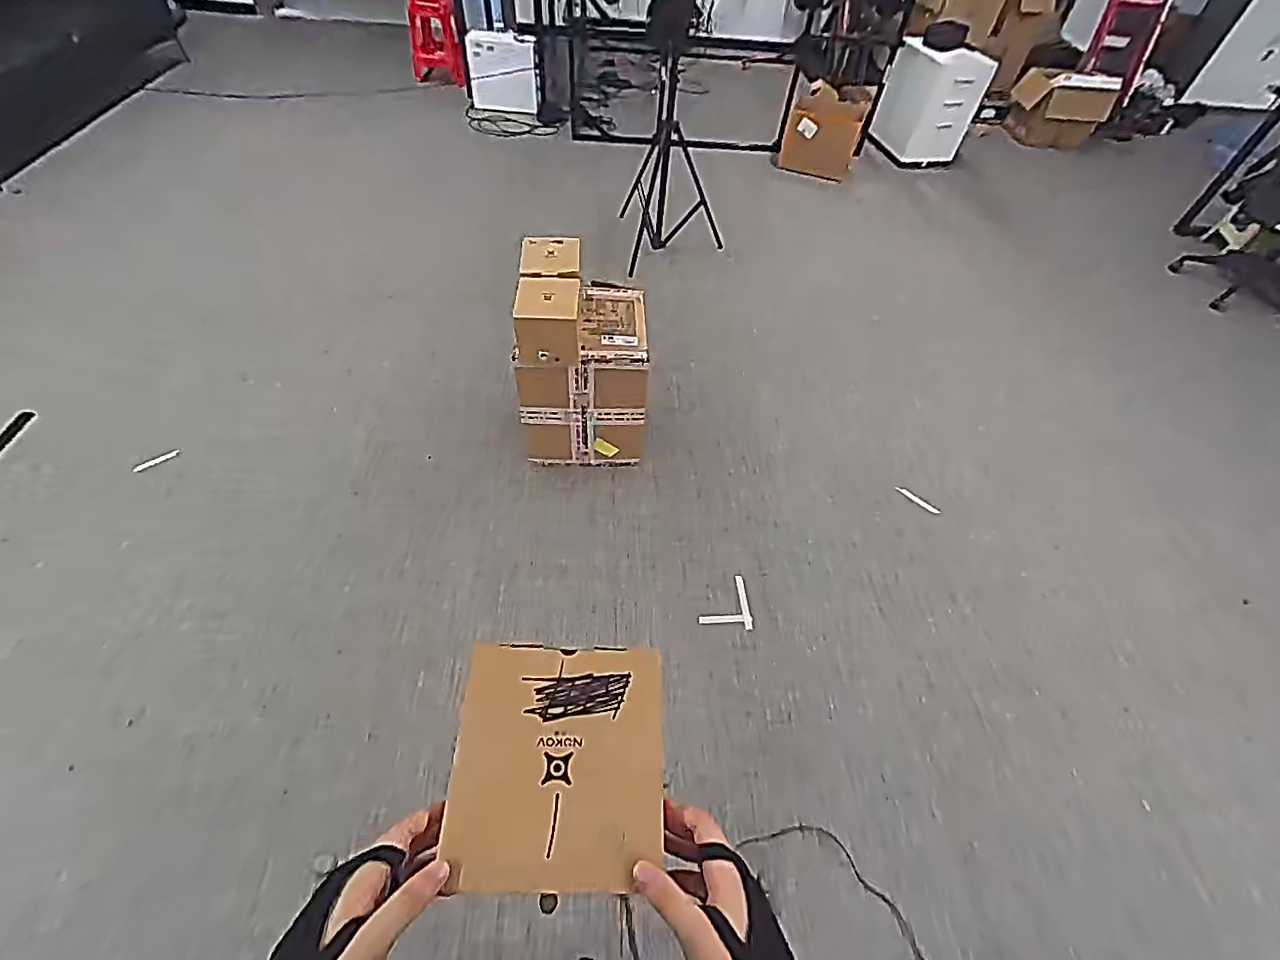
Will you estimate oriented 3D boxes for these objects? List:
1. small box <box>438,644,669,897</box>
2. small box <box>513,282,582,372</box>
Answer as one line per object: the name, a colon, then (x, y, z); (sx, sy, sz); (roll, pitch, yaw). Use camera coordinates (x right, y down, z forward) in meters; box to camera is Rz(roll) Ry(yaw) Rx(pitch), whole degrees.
small box: (-0.066, 0.266, 0.492); (0.168, 0.176, 0.179); (3, 55, -3)
small box: (-0.247, -0.422, 1.490); (0.168, 0.176, 0.179); (0, 55, -3)
